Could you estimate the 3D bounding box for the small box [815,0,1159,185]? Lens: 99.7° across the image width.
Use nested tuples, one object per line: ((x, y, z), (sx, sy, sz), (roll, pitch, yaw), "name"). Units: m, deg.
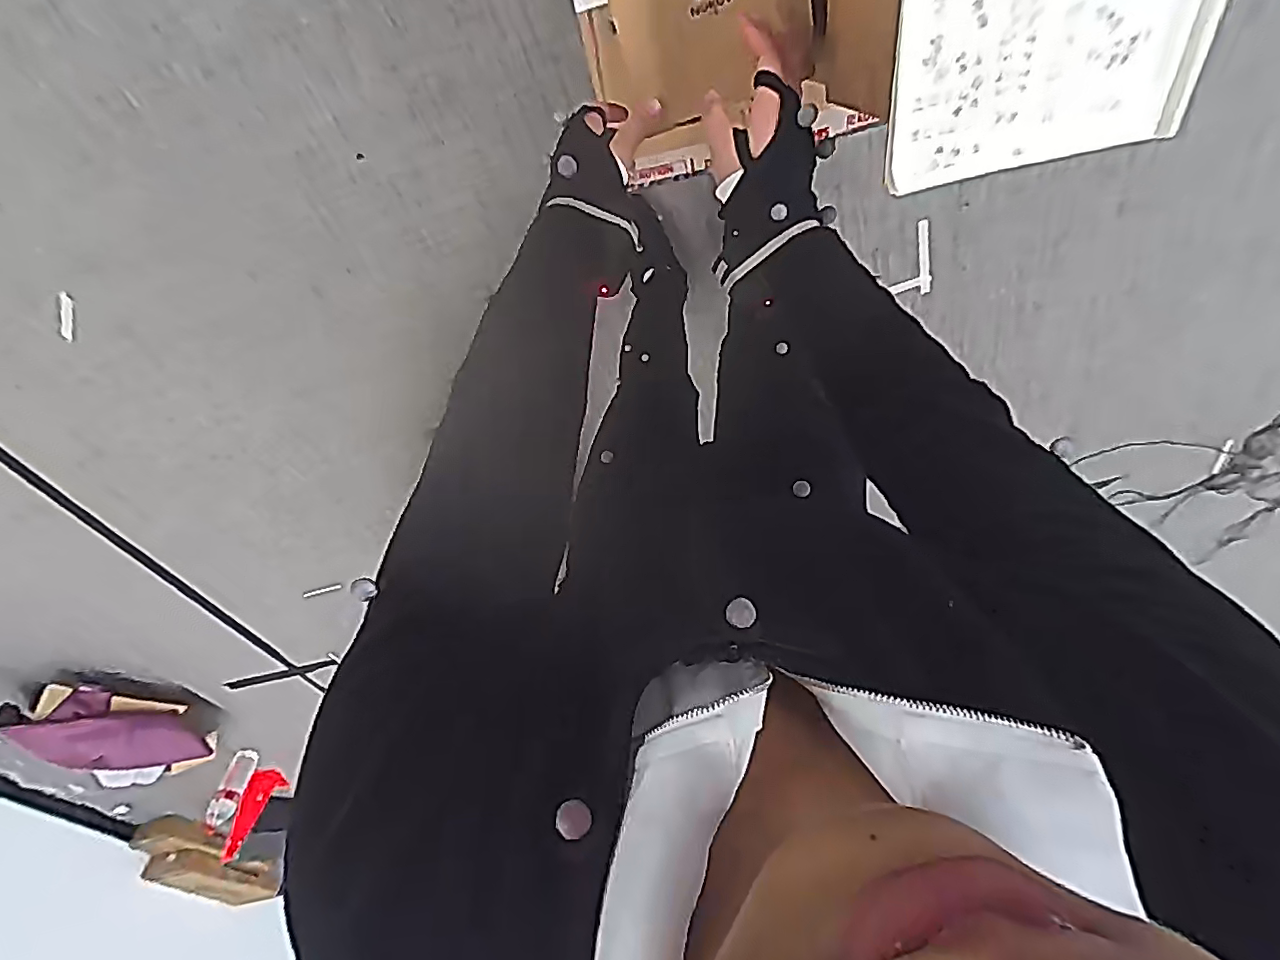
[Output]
((0.238, -0.347, 0.400), (0.168, 0.176, 0.179), (-11, 131, 4), "small box")
